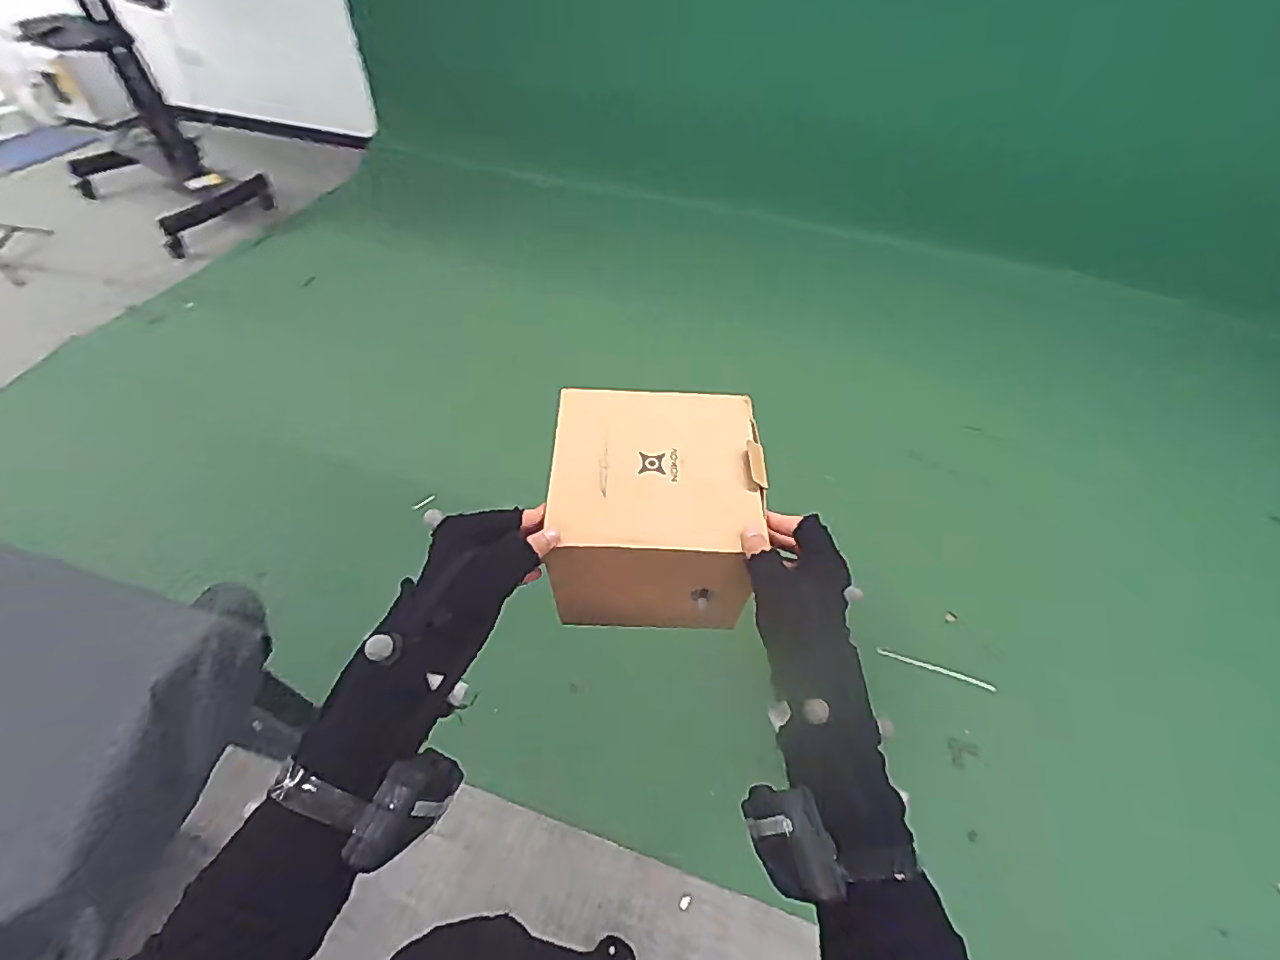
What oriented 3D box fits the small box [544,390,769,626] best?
[{"bbox_3d":[0.014,0.033,0.523,0.179,0.176,0.168,1,54,0],"label":"small box"}]
